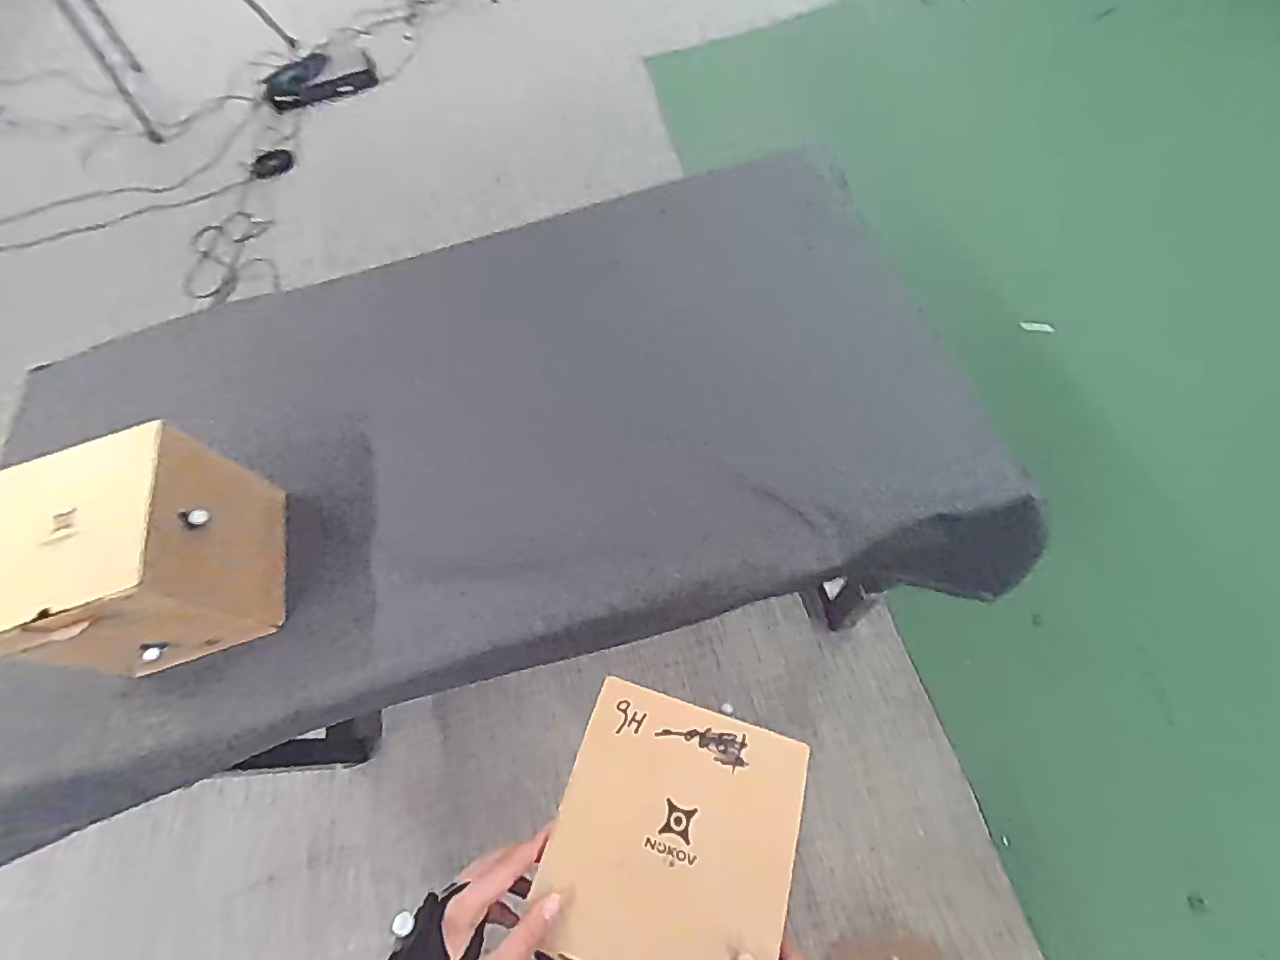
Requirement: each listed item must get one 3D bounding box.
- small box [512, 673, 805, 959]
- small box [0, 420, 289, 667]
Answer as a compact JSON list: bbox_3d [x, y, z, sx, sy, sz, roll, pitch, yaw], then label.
[{"bbox_3d":[0.021,0.285,0.443,0.168,0.176,0.179,16,61,10],"label":"small box"},{"bbox_3d":[-0.491,0.072,0.551,0.168,0.176,0.179,-18,63,-1],"label":"small box"}]
